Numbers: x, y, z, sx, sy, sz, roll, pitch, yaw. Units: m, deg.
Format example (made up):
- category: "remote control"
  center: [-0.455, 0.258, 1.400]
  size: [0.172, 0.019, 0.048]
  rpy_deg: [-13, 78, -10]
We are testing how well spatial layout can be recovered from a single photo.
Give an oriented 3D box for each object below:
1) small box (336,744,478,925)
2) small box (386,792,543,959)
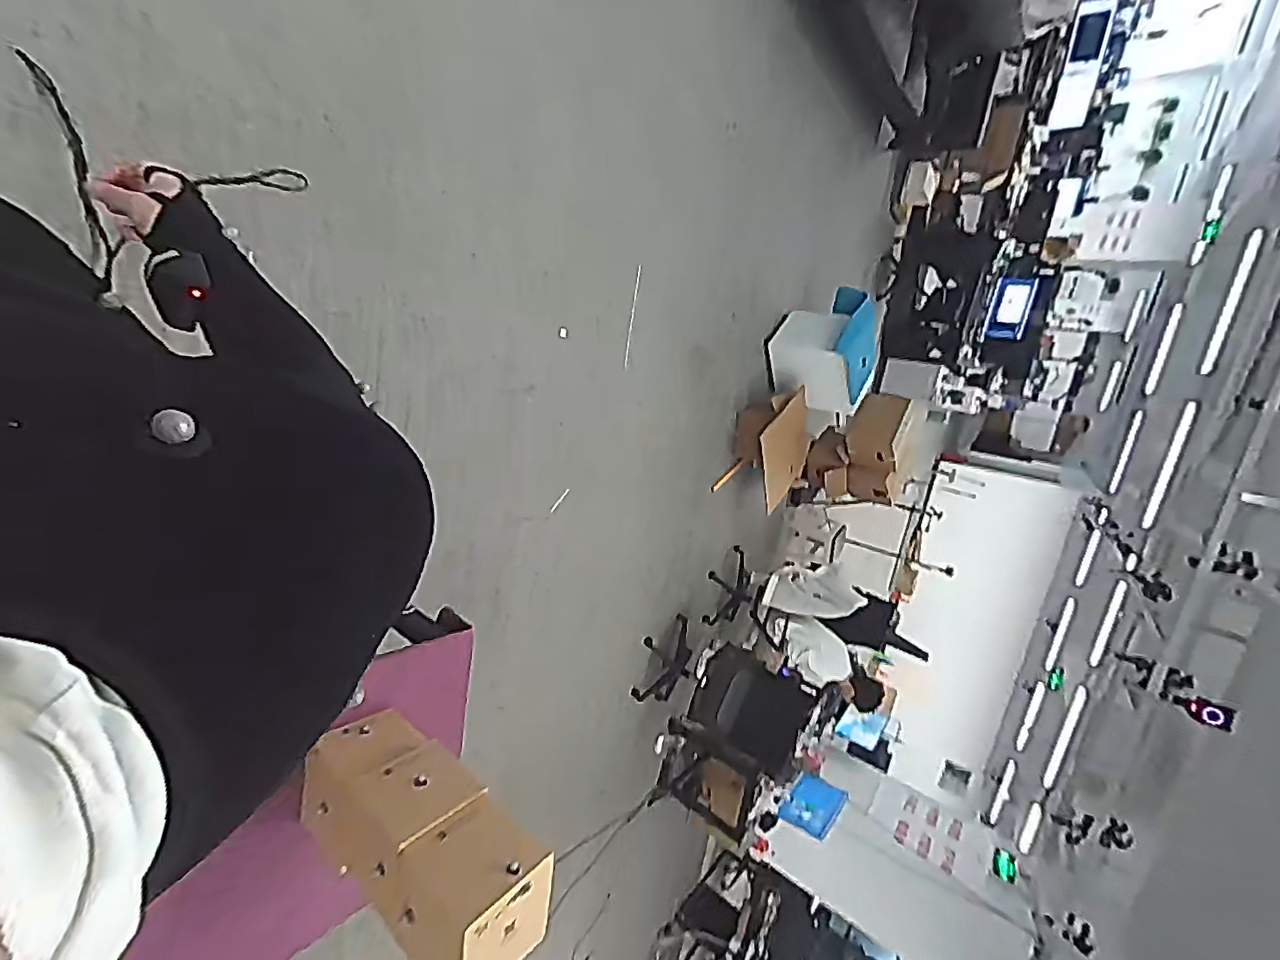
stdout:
- category: "small box"
  center: [-0.406, 0.594, 0.940]
  size: [0.168, 0.176, 0.179]
  rpy_deg: [-8, 112, -52]
- category: "small box"
  center: [-0.278, 0.645, 0.849]
  size: [0.168, 0.176, 0.179]
  rpy_deg: [-10, 113, -53]
